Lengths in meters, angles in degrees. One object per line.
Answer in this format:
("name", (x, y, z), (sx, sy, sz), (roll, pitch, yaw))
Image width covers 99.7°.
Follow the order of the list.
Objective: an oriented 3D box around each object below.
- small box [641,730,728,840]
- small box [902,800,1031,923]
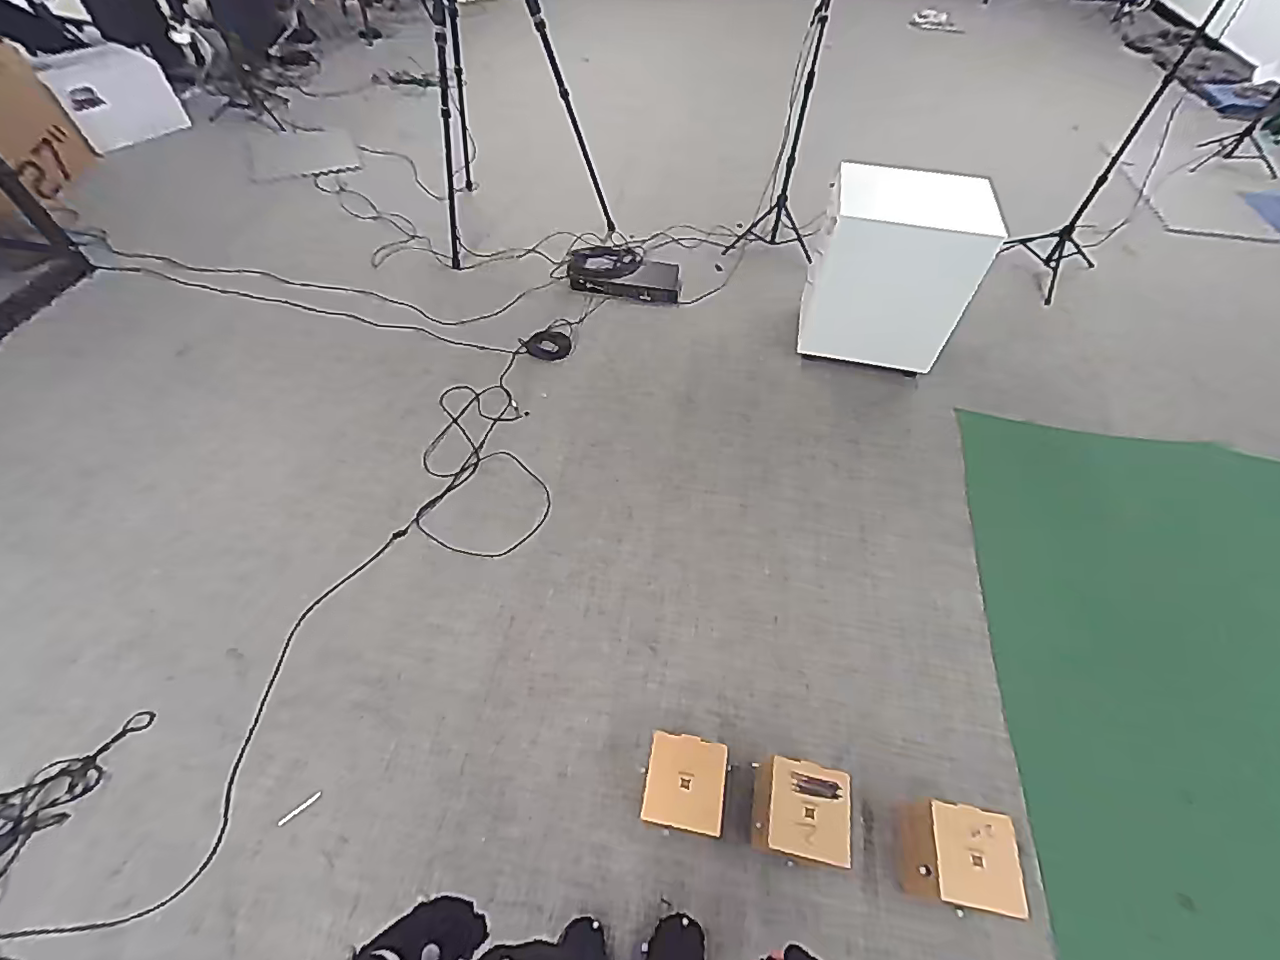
("small box", (0.098, 0.685, 1.207), (0.168, 0.176, 0.179), (9, 53, 6))
("small box", (0.673, 0.799, 1.139), (0.168, 0.176, 0.179), (10, 54, 5))
